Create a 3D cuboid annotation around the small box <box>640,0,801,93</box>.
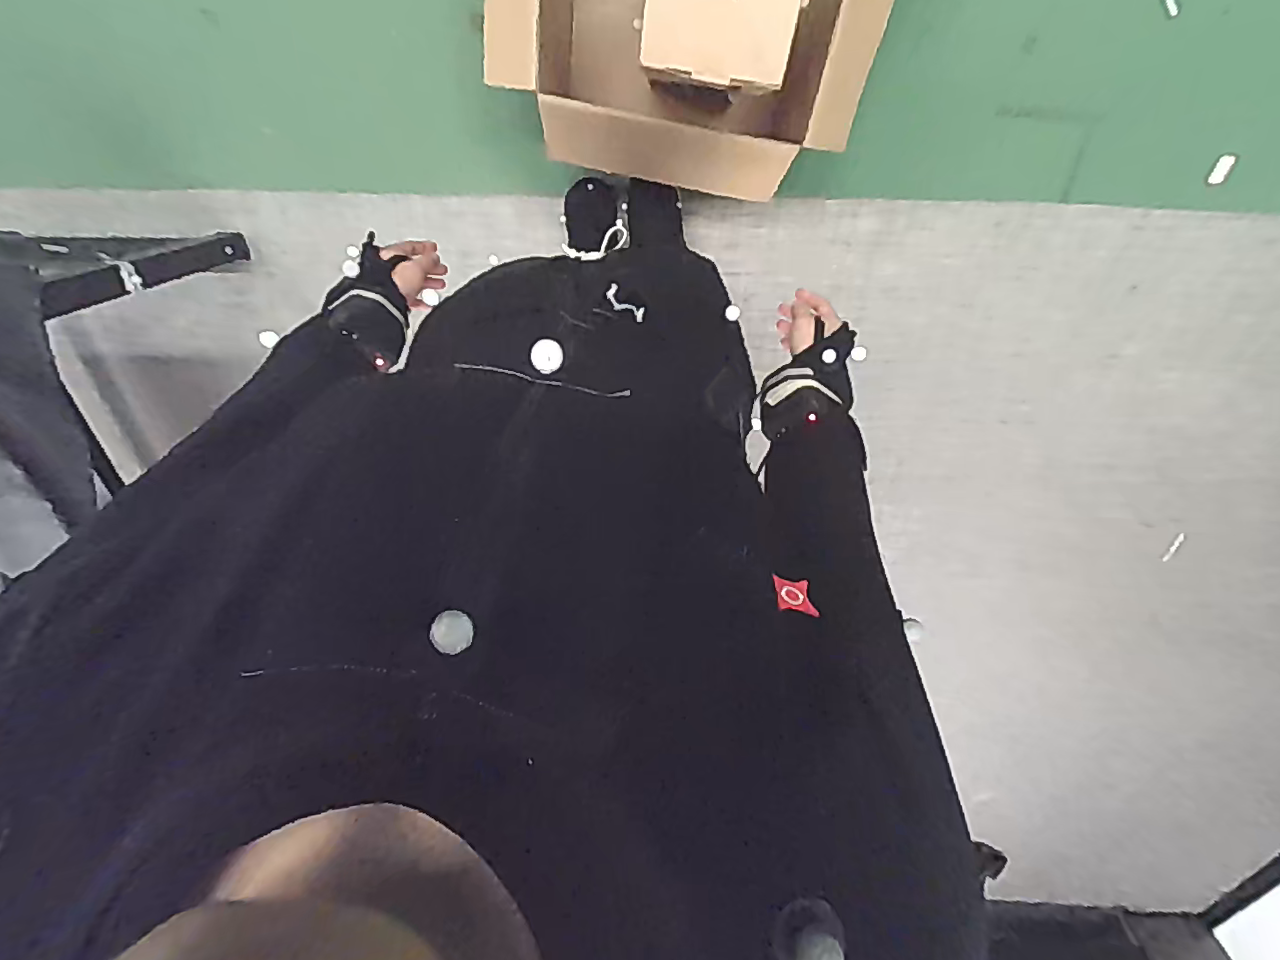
[{"bbox_3d":[0.095,-0.566,0.626,0.168,0.176,0.179,7,122,-2],"label":"small box"}]
